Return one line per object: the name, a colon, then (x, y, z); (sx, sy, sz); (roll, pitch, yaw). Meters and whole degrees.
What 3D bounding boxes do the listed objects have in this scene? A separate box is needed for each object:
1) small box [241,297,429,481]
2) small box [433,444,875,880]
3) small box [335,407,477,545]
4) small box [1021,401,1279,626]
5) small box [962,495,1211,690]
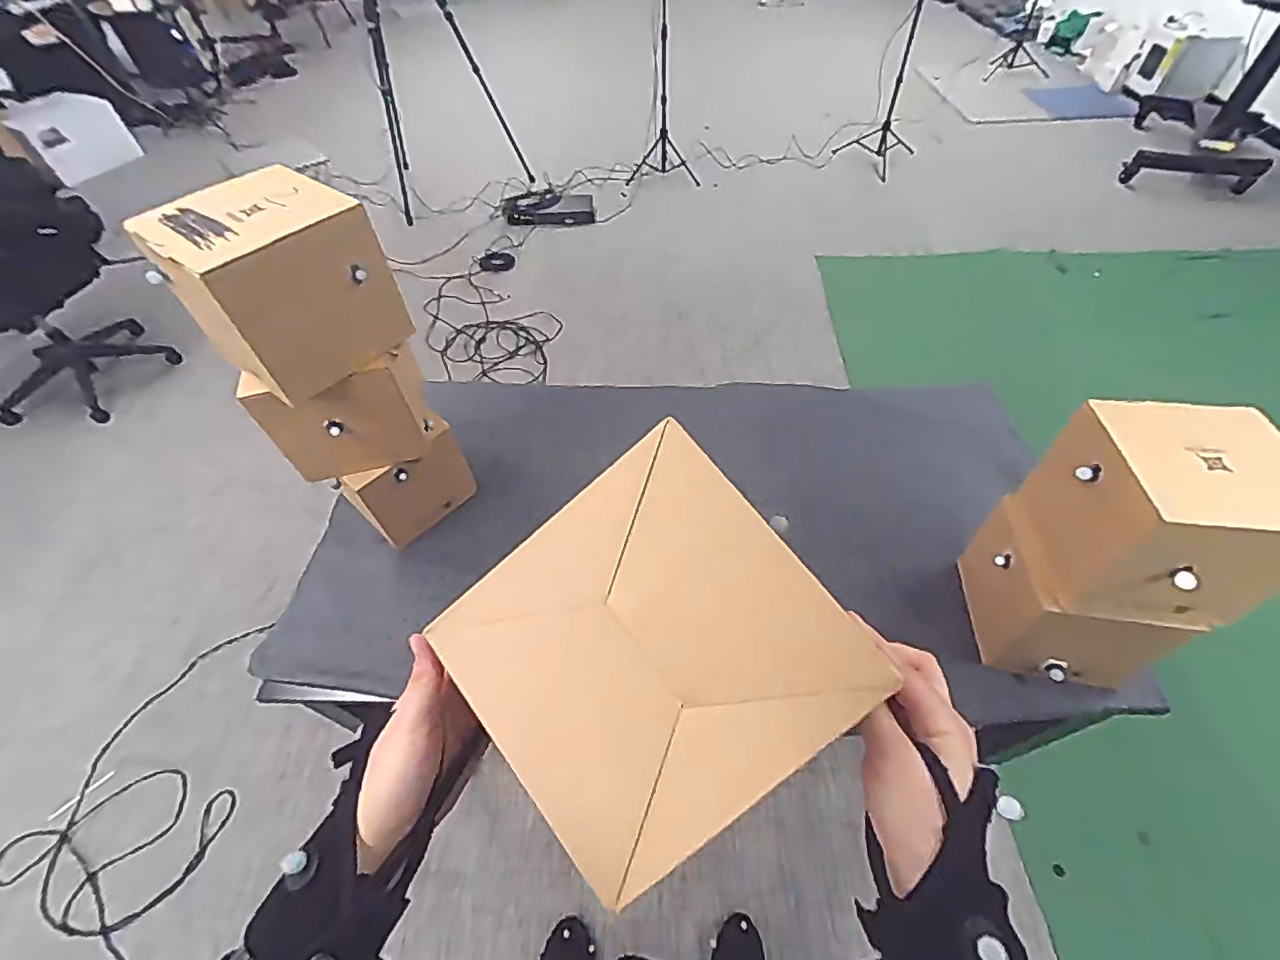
small box: (-0.406, -0.124, 0.756); (0.179, 0.176, 0.168); (-15, 53, -8)
small box: (0.015, 0.093, 0.340); (0.179, 0.176, 0.168); (-41, 77, 4)
small box: (-0.401, -0.026, 0.888); (0.179, 0.176, 0.168); (35, 61, 26)
small box: (0.554, 0.037, 0.579); (0.168, 0.176, 0.179); (4, 47, 8)
small box: (0.547, 0.146, 0.701); (0.168, 0.176, 0.179); (6, 49, 9)
